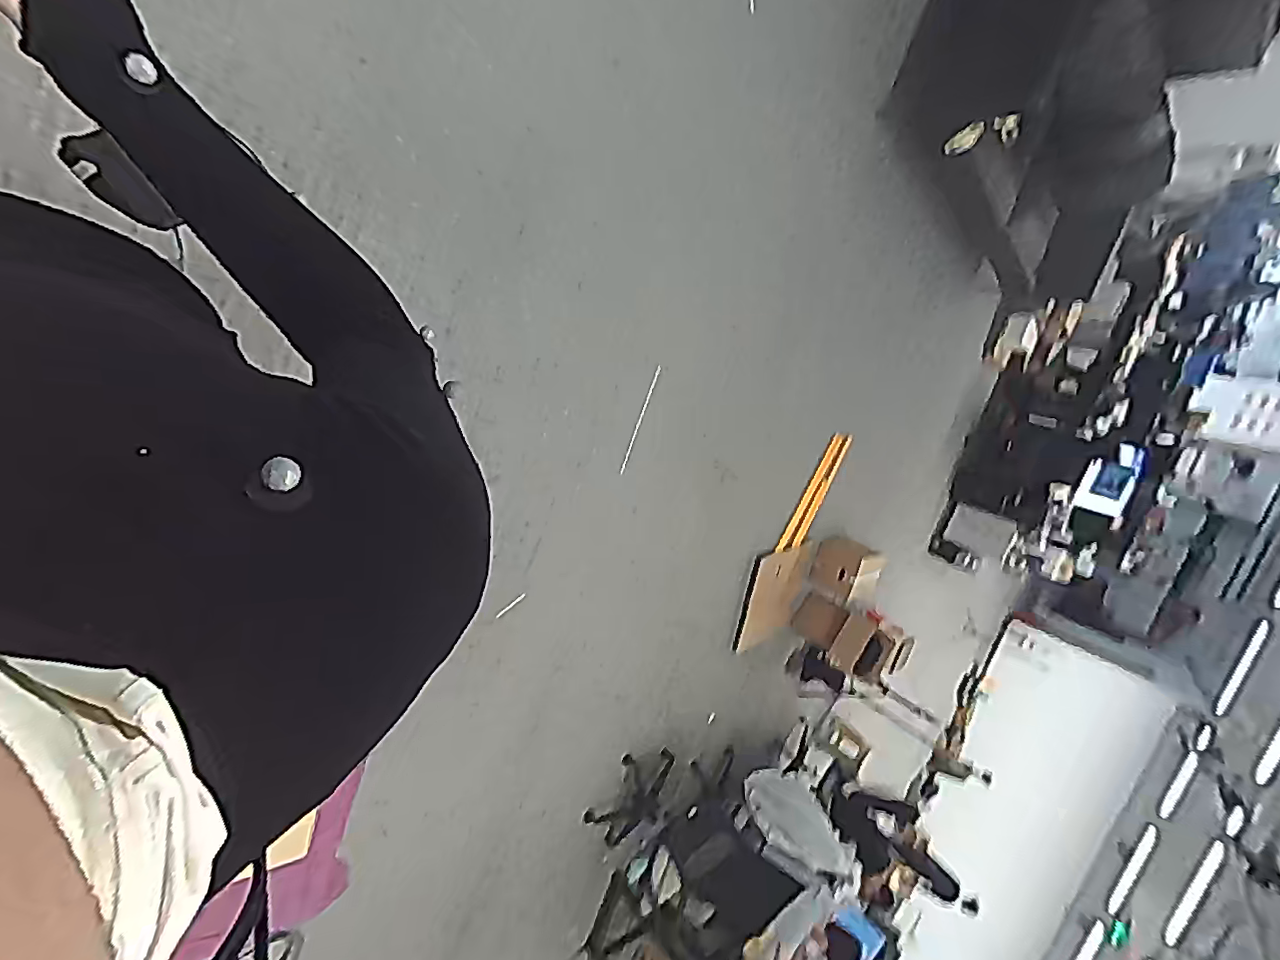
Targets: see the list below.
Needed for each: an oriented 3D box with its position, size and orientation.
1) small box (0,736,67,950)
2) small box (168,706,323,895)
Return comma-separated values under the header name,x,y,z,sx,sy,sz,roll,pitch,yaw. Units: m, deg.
name,x,y,z,sx,sy,sz,roll,pitch,yaw
small box,-0.830,0.449,0.654,0.168,0.176,0.179,12,101,-46
small box,-0.627,0.484,0.855,0.168,0.176,0.179,8,107,-44
